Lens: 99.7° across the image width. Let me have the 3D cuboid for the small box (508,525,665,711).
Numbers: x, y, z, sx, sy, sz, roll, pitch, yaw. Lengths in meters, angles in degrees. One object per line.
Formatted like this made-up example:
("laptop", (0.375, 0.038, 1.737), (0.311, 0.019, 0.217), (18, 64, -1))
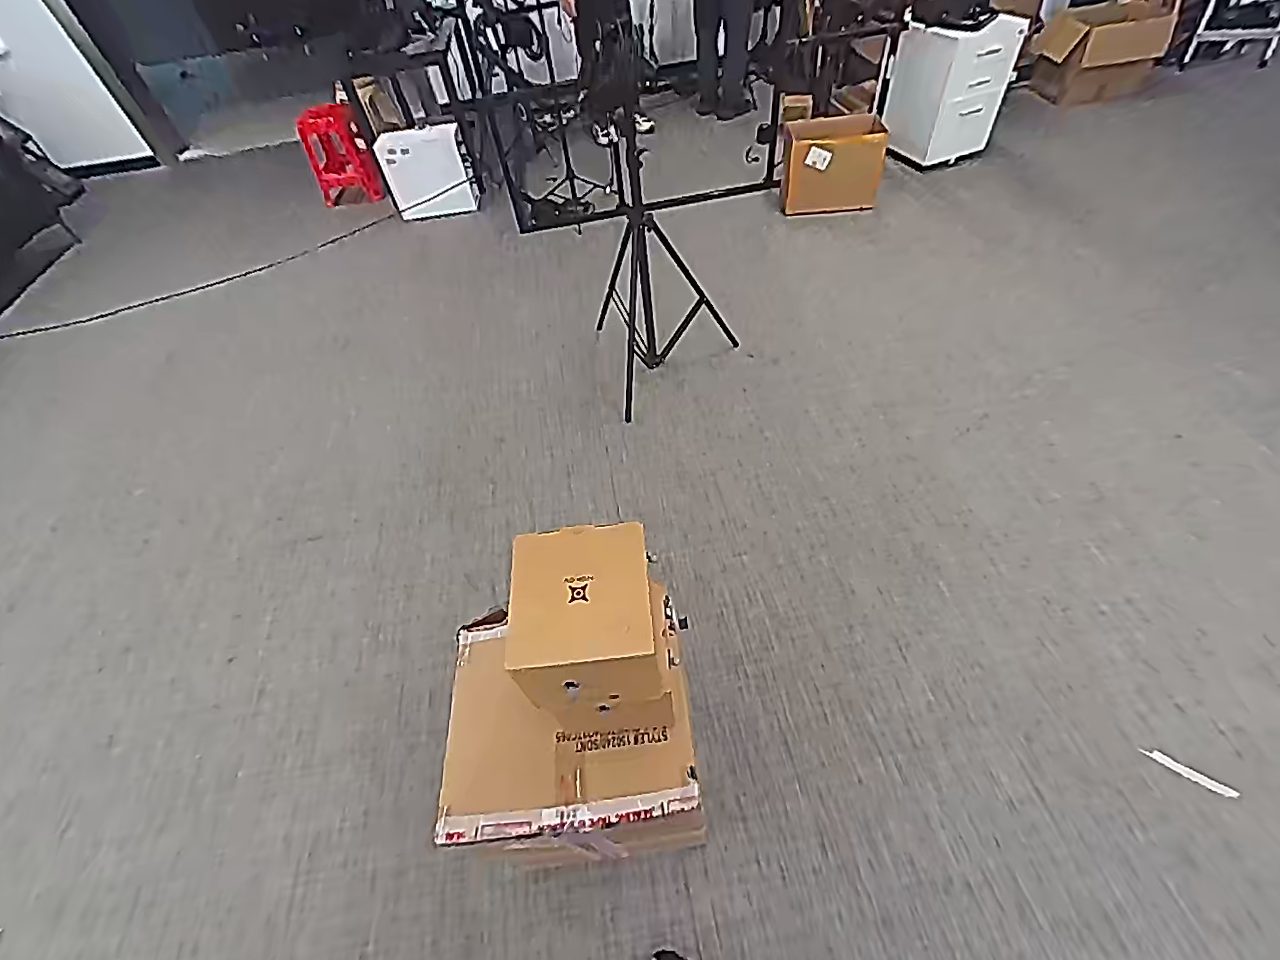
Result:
("small box", (-0.061, 0.184, 0.692), (0.168, 0.176, 0.179), (-7, 51, 0))

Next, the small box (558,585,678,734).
("small box", (-0.037, 0.277, 0.823), (0.179, 0.176, 0.168), (-5, 52, 2))
